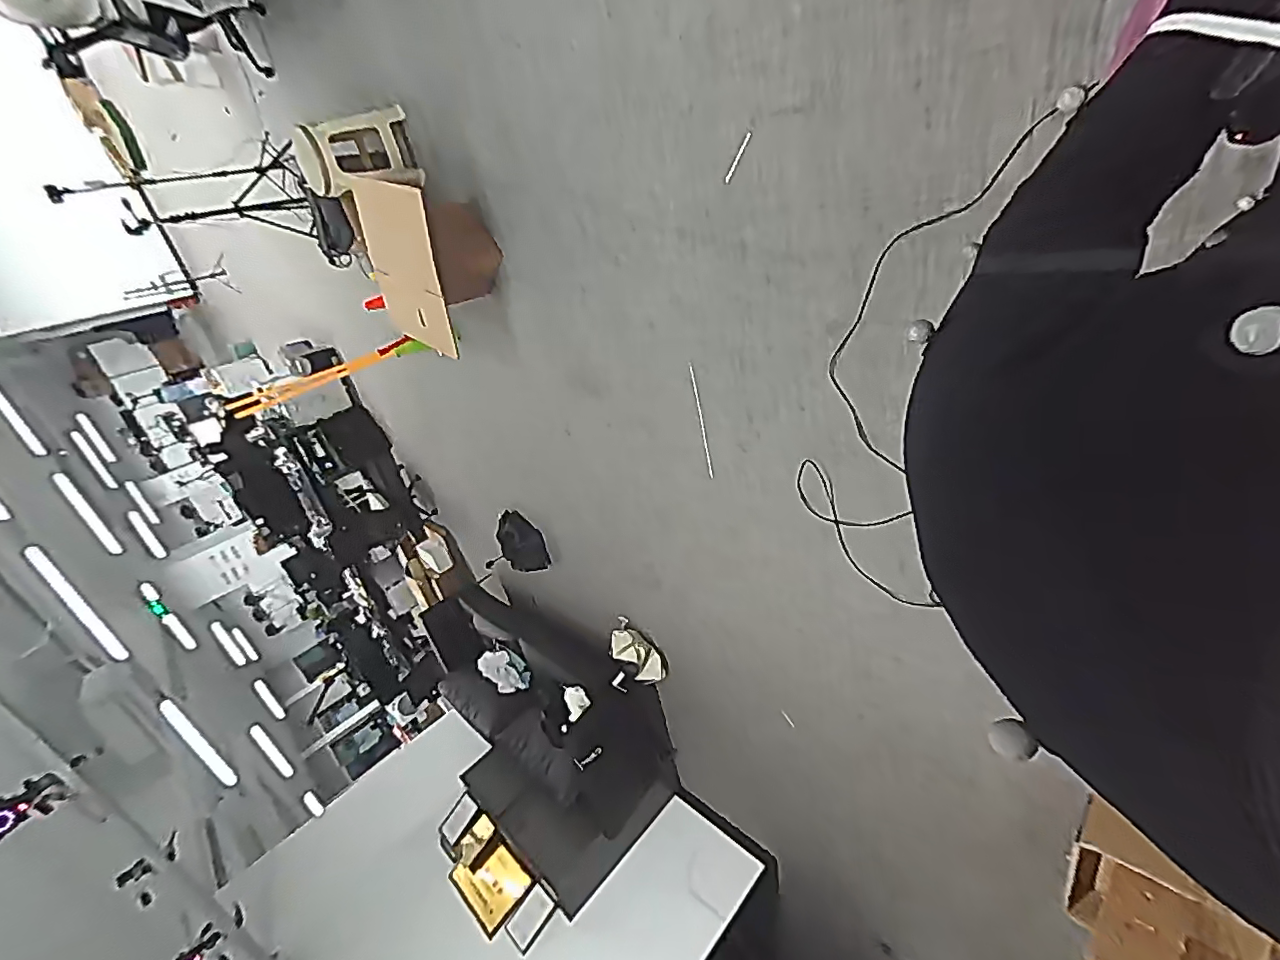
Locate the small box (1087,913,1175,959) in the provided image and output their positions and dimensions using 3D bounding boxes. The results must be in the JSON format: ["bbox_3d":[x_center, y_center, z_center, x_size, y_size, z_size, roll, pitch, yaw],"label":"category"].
[{"bbox_3d":[1.339,1.353,1.482,0.168,0.176,0.179,12,125,44],"label":"small box"}]

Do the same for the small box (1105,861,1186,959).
[{"bbox_3d":[1.471,1.272,1.579,0.168,0.176,0.179,6,122,45],"label":"small box"}]
